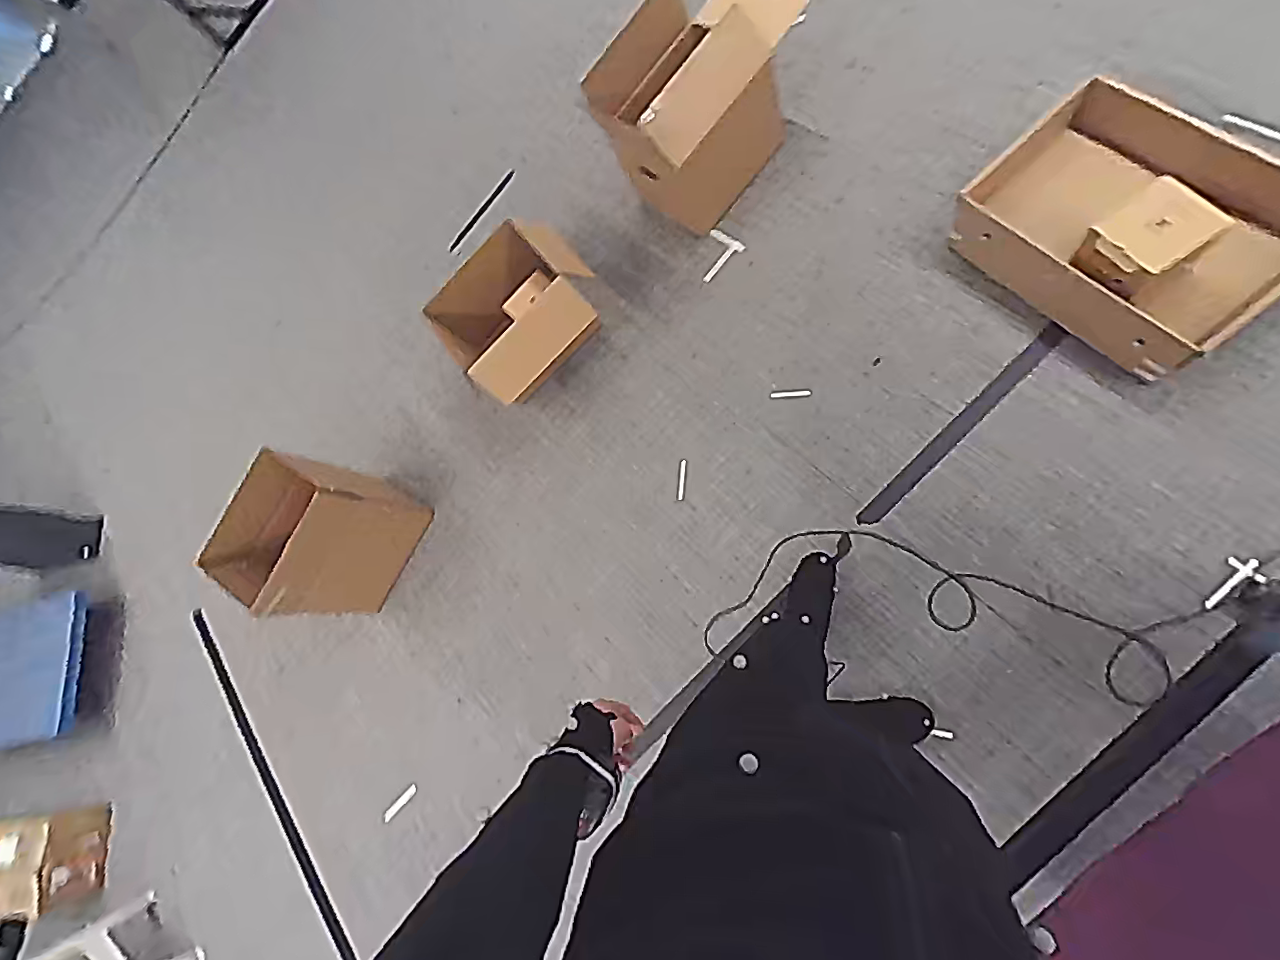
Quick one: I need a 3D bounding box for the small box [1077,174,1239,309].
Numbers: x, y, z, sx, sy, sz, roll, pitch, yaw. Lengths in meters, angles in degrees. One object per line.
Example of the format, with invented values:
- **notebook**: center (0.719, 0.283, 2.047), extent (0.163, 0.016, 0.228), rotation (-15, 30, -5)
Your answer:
- **small box**: center (1.113, -0.513, 1.189), extent (0.179, 0.176, 0.168), rotation (-35, 68, 11)
